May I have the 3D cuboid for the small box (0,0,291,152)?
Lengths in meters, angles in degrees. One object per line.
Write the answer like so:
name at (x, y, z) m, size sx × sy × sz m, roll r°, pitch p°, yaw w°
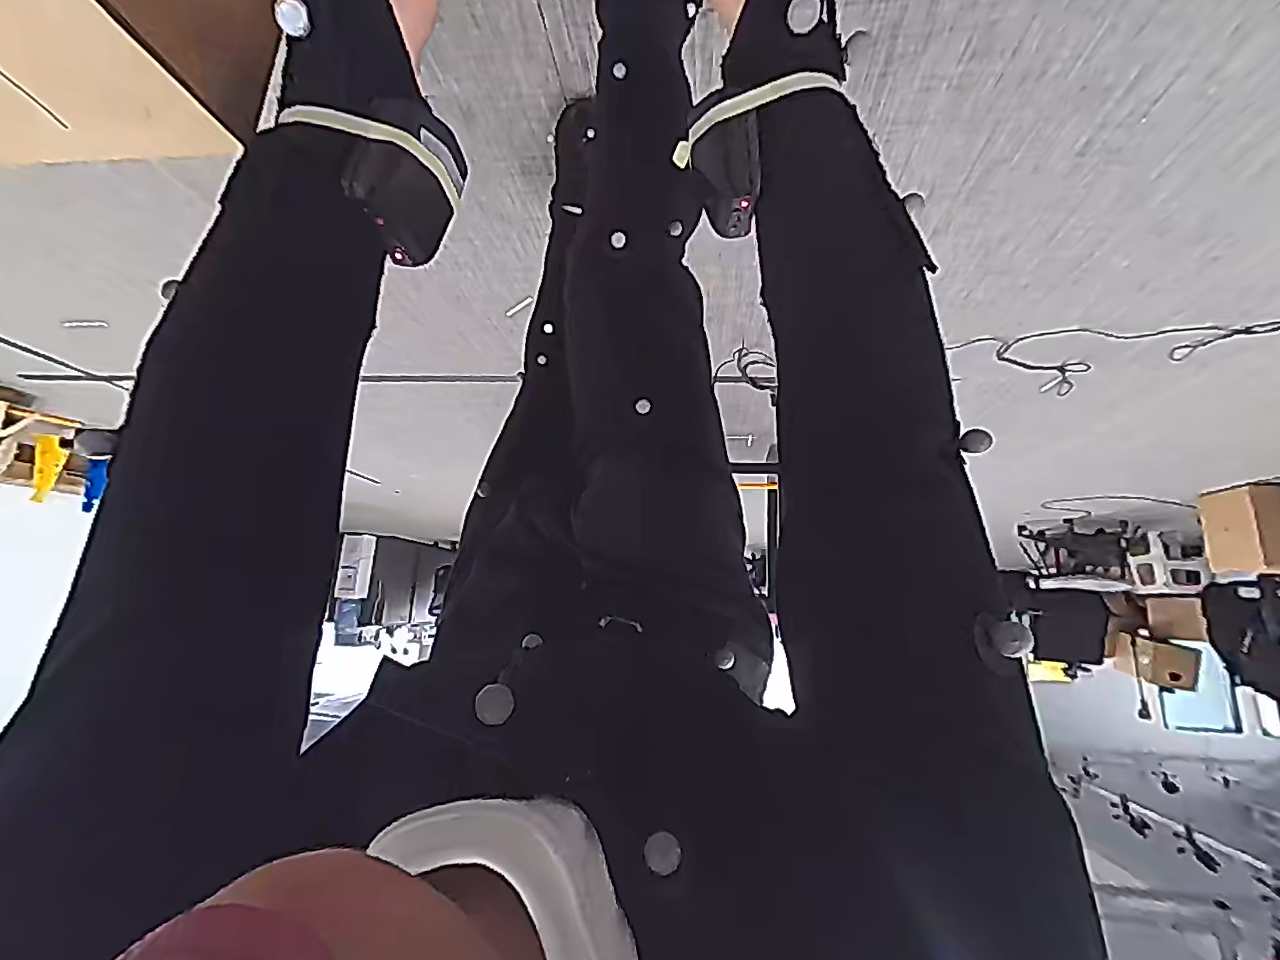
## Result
small box at (-0.283, -0.278, 0.227) m, size 0.168 × 0.176 × 0.179 m, roll 2°, pitch 167°, yaw 5°
